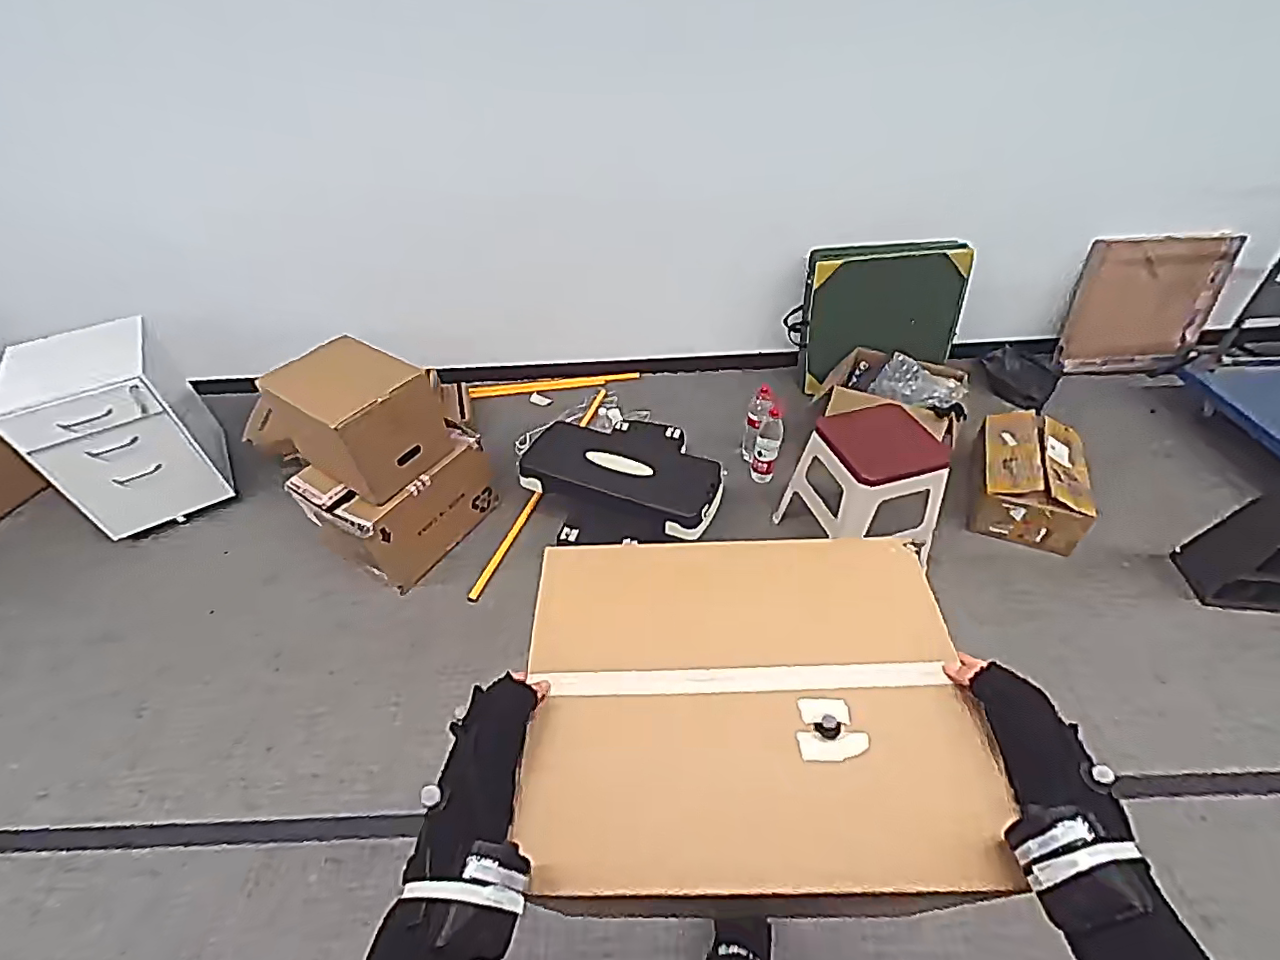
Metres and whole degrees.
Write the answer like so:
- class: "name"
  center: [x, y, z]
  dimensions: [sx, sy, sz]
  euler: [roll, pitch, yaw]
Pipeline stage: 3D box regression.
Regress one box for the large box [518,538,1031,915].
- class: "large box"
  center: [0.104, 0.286, 0.621]
  dimensions: [0.408, 0.320, 0.320]
  euler: [-2, 49, 1]
